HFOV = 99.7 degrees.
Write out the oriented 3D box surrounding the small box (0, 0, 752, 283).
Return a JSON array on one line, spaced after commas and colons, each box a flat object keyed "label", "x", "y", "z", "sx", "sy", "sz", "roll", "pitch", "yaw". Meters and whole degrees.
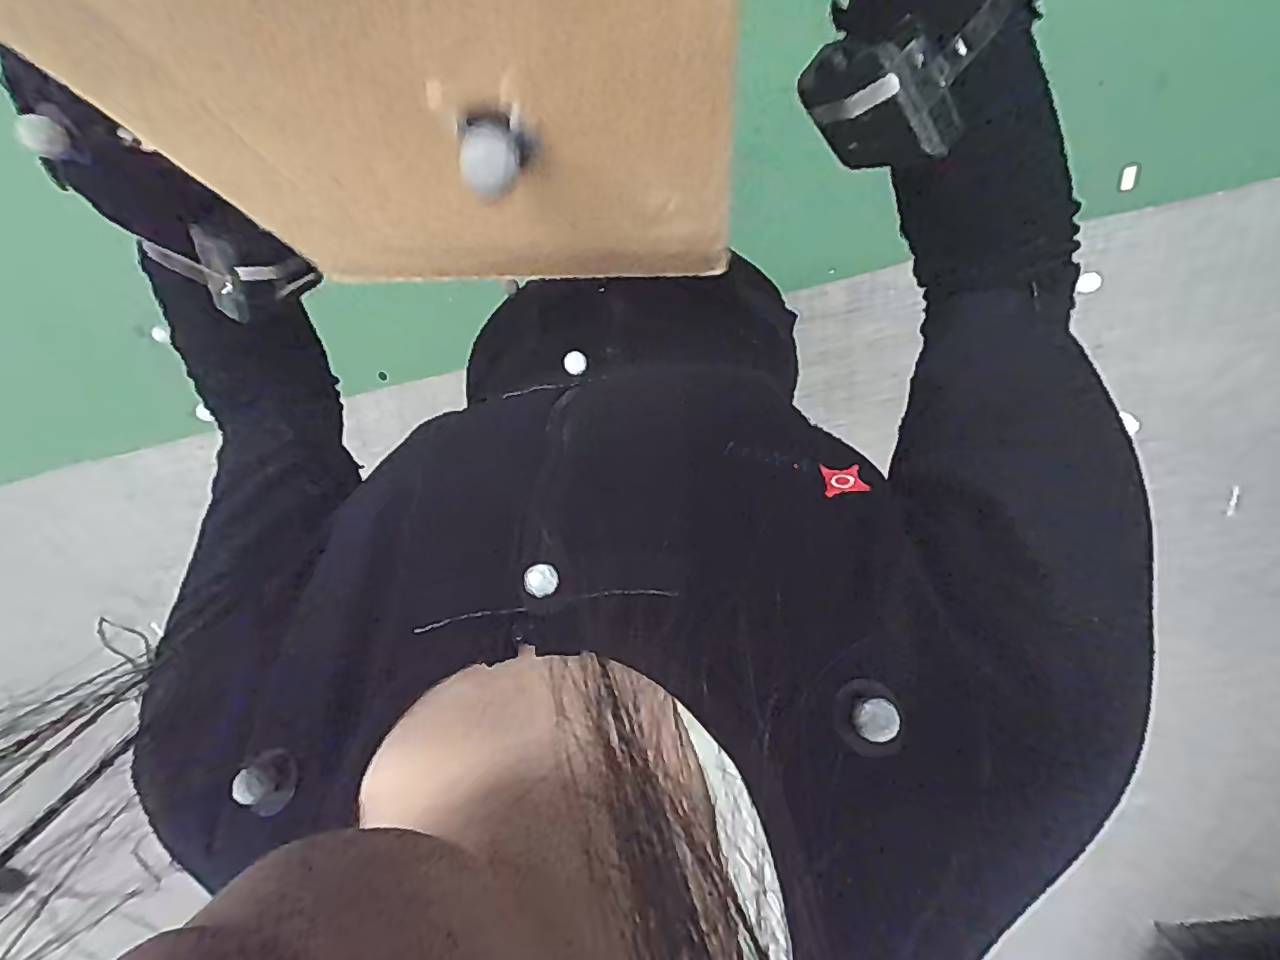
[{"label": "small box", "x": -0.052, "y": -0.172, "z": 0.149, "sx": 0.168, "sy": 0.176, "sz": 0.179, "roll": 4, "pitch": 90, "yaw": 9}]
